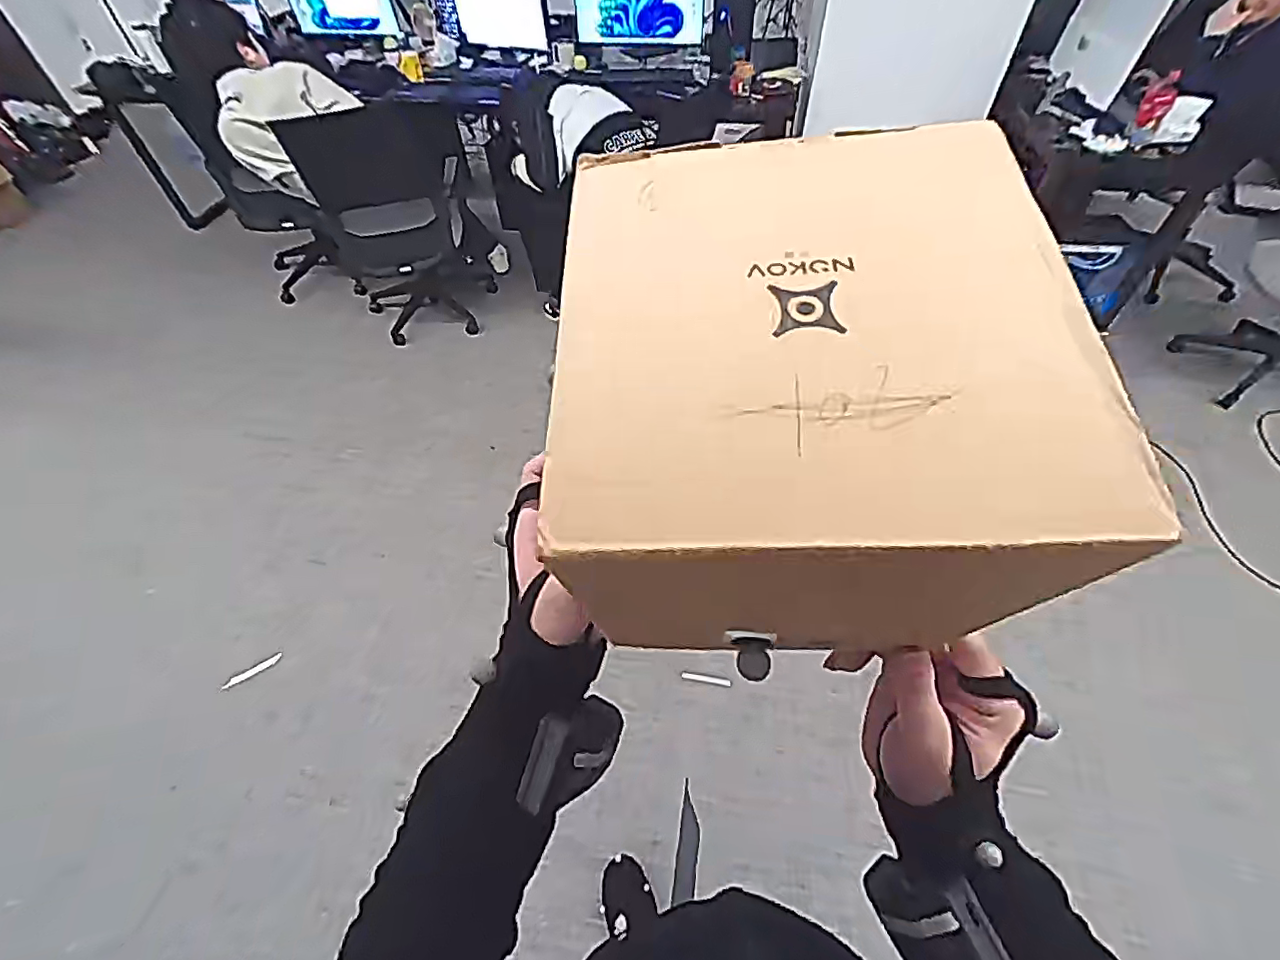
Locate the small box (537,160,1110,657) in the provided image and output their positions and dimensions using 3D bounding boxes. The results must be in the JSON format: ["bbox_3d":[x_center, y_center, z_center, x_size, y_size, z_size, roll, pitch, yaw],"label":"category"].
[{"bbox_3d":[0.058,-0.017,0.265,0.168,0.176,0.179,-3,64,6],"label":"small box"}]
